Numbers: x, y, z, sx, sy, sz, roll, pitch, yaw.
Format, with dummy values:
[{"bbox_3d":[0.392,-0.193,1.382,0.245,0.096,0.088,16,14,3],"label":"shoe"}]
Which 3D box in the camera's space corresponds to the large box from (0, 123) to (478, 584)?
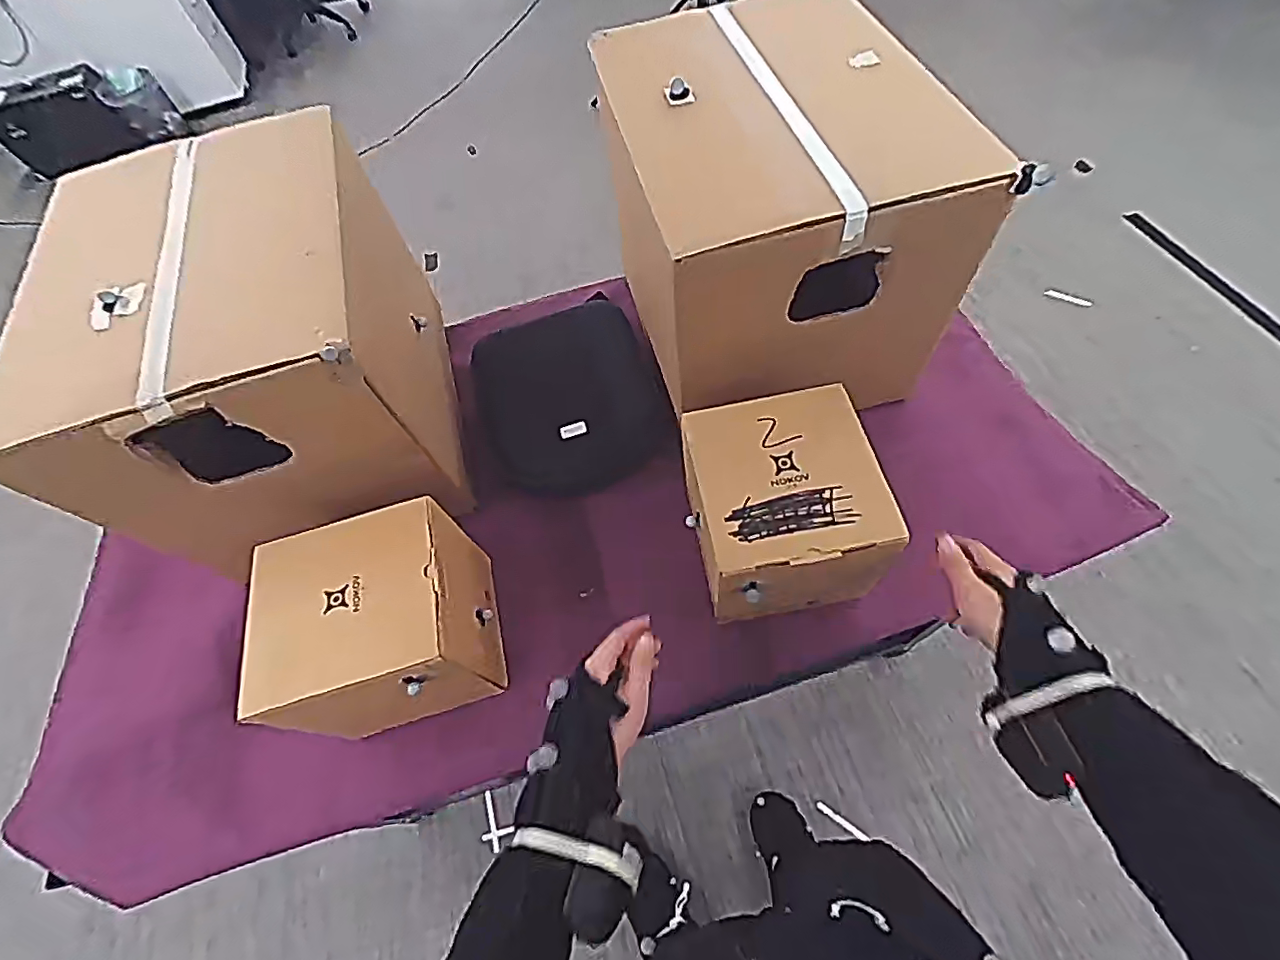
[{"bbox_3d":[-0.430,-0.142,0.665,0.320,0.320,0.408,-19,63,-4],"label":"large box"}]
